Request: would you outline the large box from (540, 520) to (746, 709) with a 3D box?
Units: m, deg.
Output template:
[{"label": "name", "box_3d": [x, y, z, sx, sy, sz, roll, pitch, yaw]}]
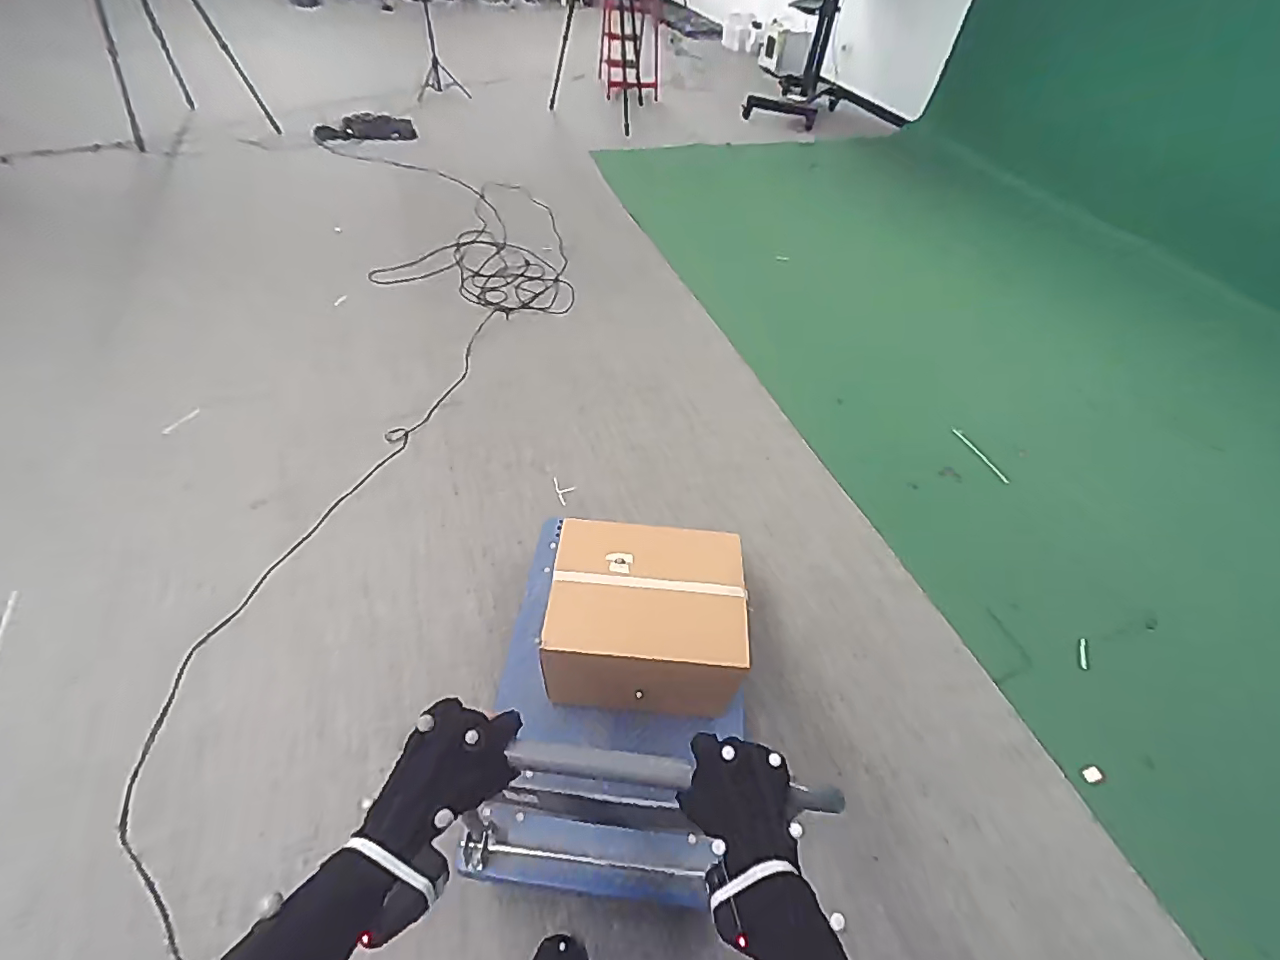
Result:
[{"label": "large box", "box_3d": [0.005, 0.316, 1.243, 0.408, 0.320, 0.320, 5, 49, -1]}]
